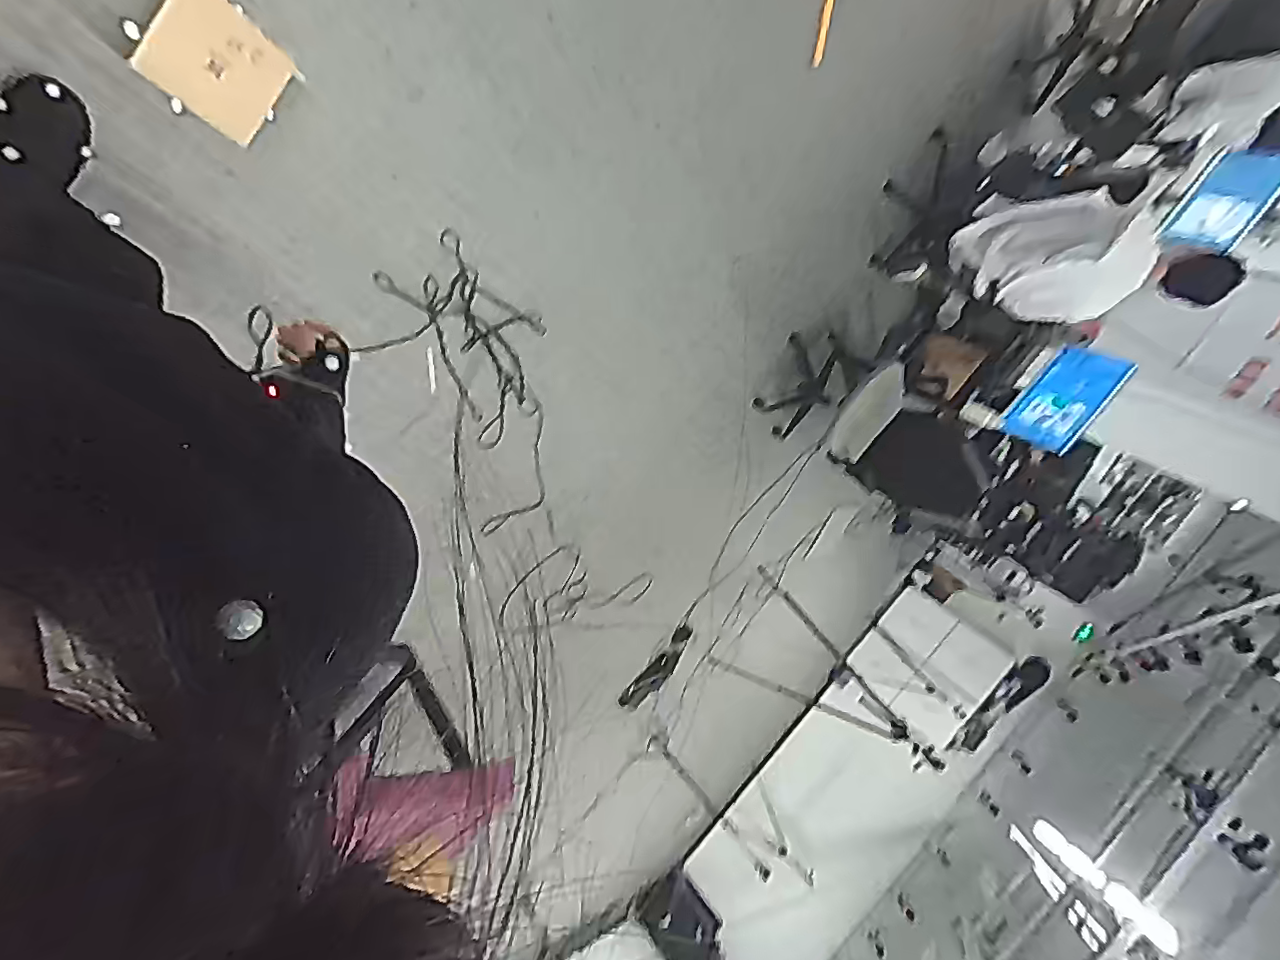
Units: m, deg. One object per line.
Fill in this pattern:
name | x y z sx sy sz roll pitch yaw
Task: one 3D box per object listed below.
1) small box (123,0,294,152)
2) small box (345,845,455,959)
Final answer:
small box | -0.739 -0.708 0.925 0.179 0.176 0.168 -54 144 3
small box | -0.627 1.093 1.408 0.168 0.176 0.179 -48 144 -4
